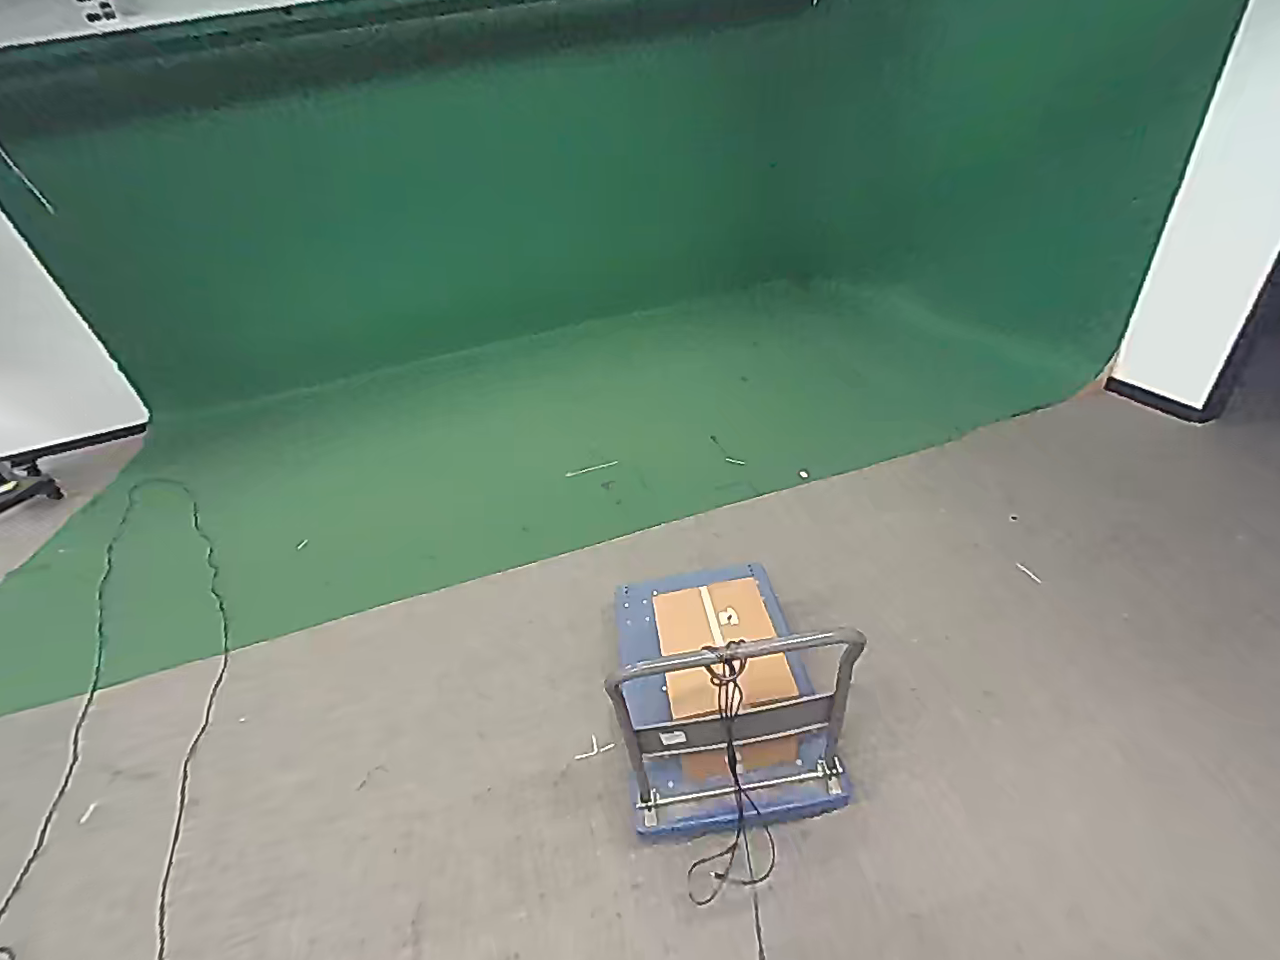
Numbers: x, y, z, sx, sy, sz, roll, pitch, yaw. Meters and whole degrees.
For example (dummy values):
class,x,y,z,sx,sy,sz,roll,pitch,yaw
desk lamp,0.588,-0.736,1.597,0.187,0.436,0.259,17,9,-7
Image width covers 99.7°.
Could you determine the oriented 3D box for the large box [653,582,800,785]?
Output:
class,x,y,z,sx,sy,sz,roll,pitch,yaw
large box,0.234,0.561,1.524,0.320,0.320,0.408,-10,34,0
